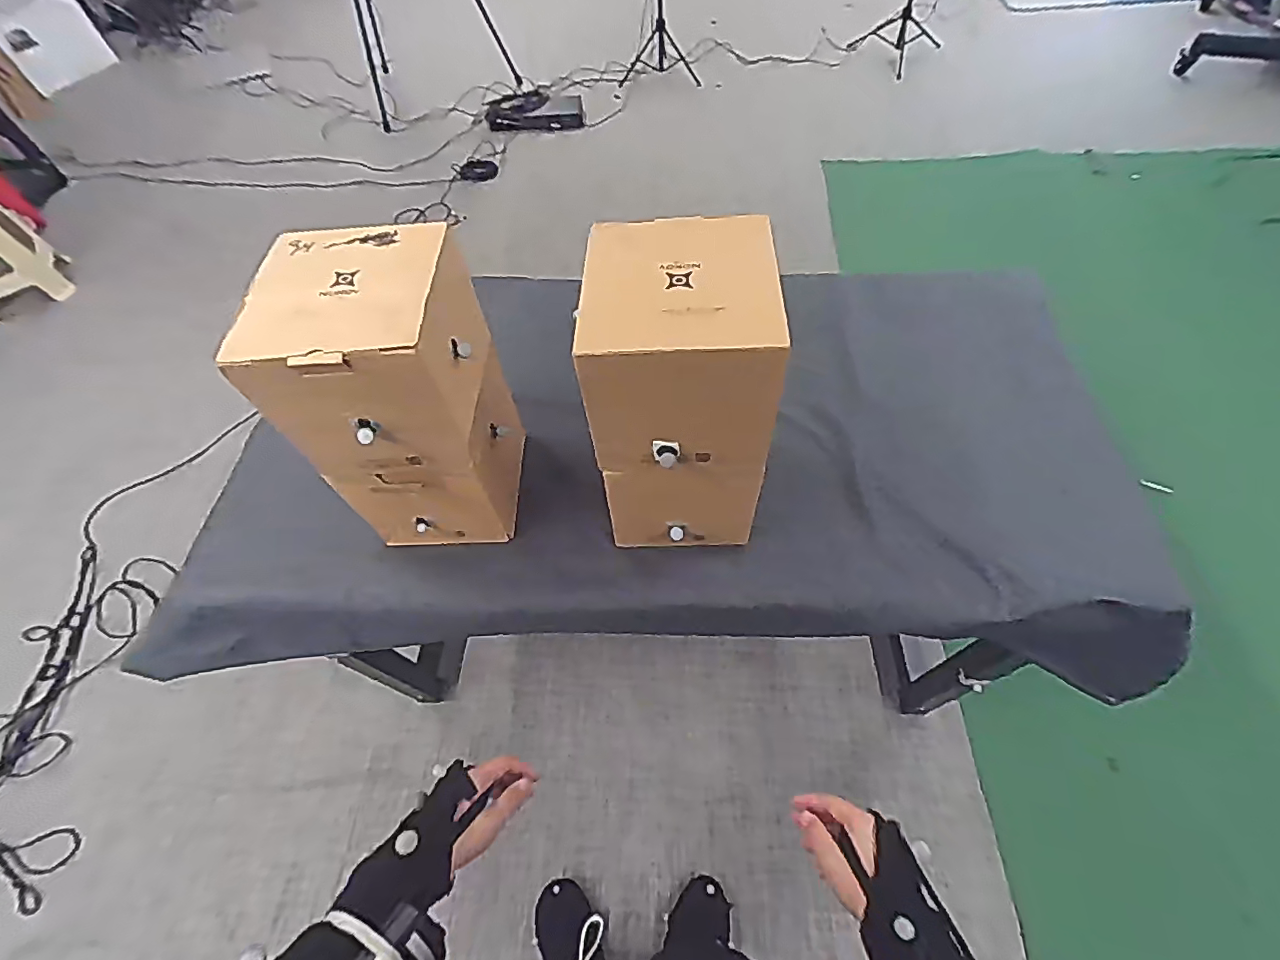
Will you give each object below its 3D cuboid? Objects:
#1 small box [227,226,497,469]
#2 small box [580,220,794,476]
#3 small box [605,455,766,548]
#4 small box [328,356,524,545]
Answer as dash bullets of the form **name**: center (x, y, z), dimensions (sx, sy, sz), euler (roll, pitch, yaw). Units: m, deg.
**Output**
- **small box**: center (-0.251, -0.122, 0.543), dimensions (0.168, 0.176, 0.179), euler (-4, 57, 1)
- **small box**: center (0.042, -0.122, 0.522), dimensions (0.168, 0.176, 0.179), euler (-2, 56, 4)
- **small box**: center (0.051, -0.033, 0.657), dimensions (0.168, 0.176, 0.179), euler (-2, 56, 3)
- **small box**: center (-0.248, -0.034, 0.681), dimensions (0.168, 0.176, 0.179), euler (-3, 56, 1)
